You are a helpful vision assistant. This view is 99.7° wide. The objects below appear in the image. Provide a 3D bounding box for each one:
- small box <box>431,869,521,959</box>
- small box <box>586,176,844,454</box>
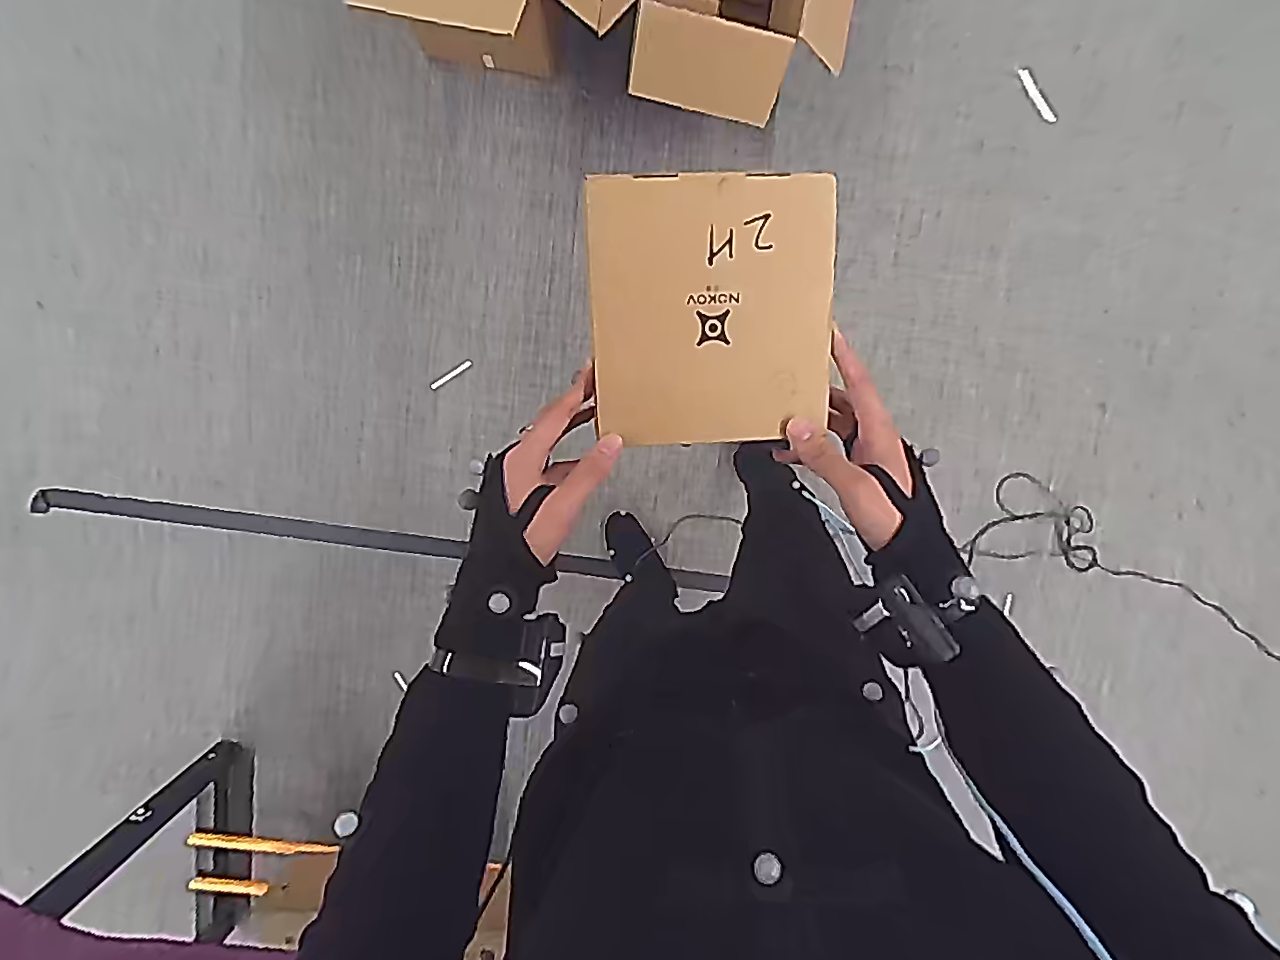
[{"bbox_3d":[-0.399,1.102,1.332,0.179,0.176,0.168,5,98,0],"label":"small box"},{"bbox_3d":[0.043,-0.123,0.434,0.168,0.176,0.179,-3,102,-6],"label":"small box"}]
